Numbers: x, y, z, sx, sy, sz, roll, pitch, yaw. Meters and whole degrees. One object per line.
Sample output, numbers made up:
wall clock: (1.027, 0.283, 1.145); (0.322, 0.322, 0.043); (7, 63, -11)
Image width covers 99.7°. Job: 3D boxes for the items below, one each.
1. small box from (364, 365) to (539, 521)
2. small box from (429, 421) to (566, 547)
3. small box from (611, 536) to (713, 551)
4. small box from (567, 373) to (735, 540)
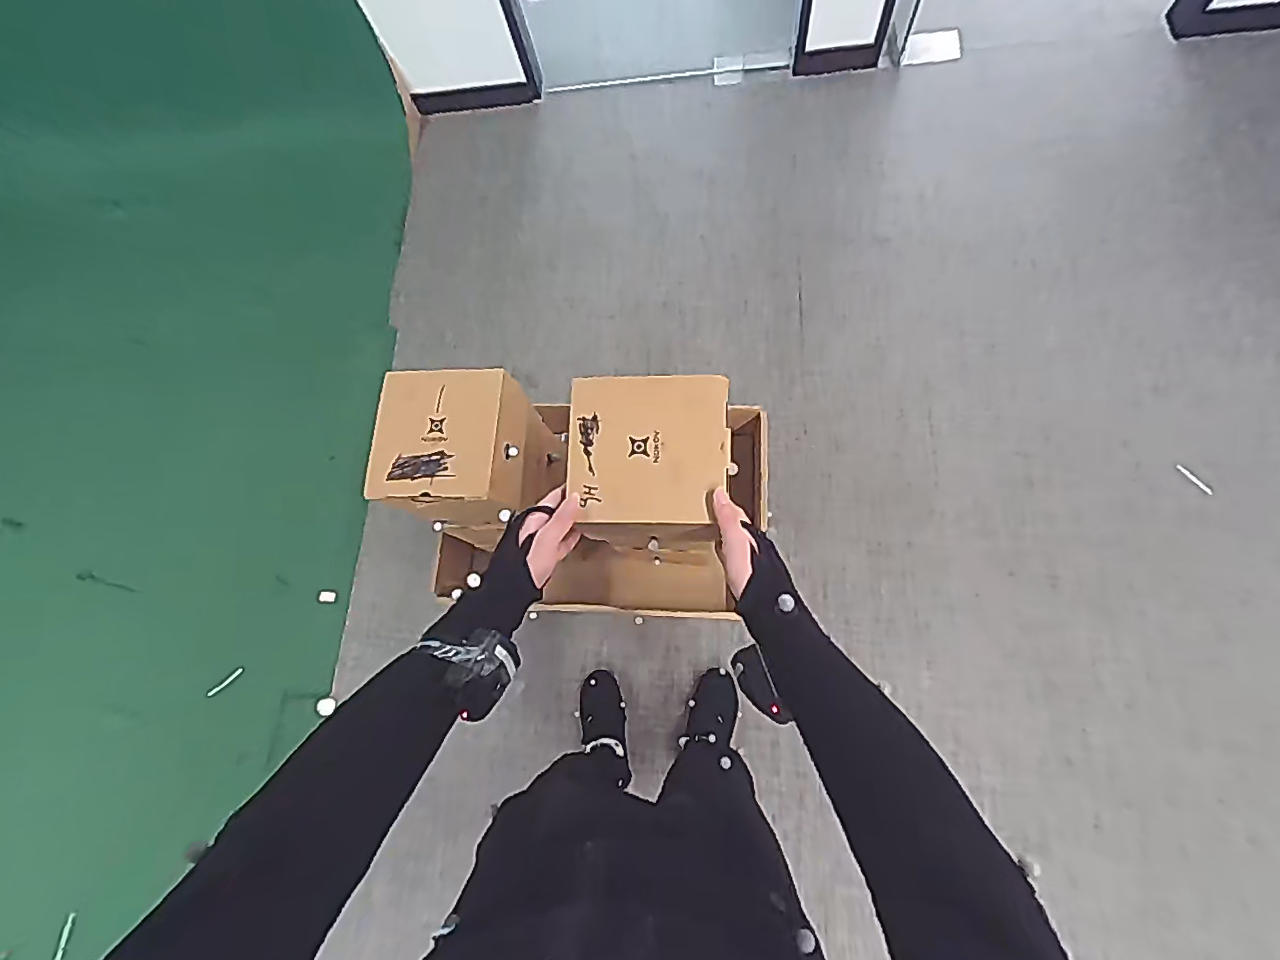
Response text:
small box: (-0.246, -0.042, 0.752); (0.168, 0.176, 0.179); (1, 73, 6)
small box: (-0.226, 0.009, 0.908); (0.168, 0.176, 0.179); (2, 74, 7)
small box: (0.035, 0.019, 0.876); (0.179, 0.176, 0.168); (4, 76, 7)
small box: (0.017, -0.019, 0.656); (0.179, 0.176, 0.168); (1, 77, 4)
